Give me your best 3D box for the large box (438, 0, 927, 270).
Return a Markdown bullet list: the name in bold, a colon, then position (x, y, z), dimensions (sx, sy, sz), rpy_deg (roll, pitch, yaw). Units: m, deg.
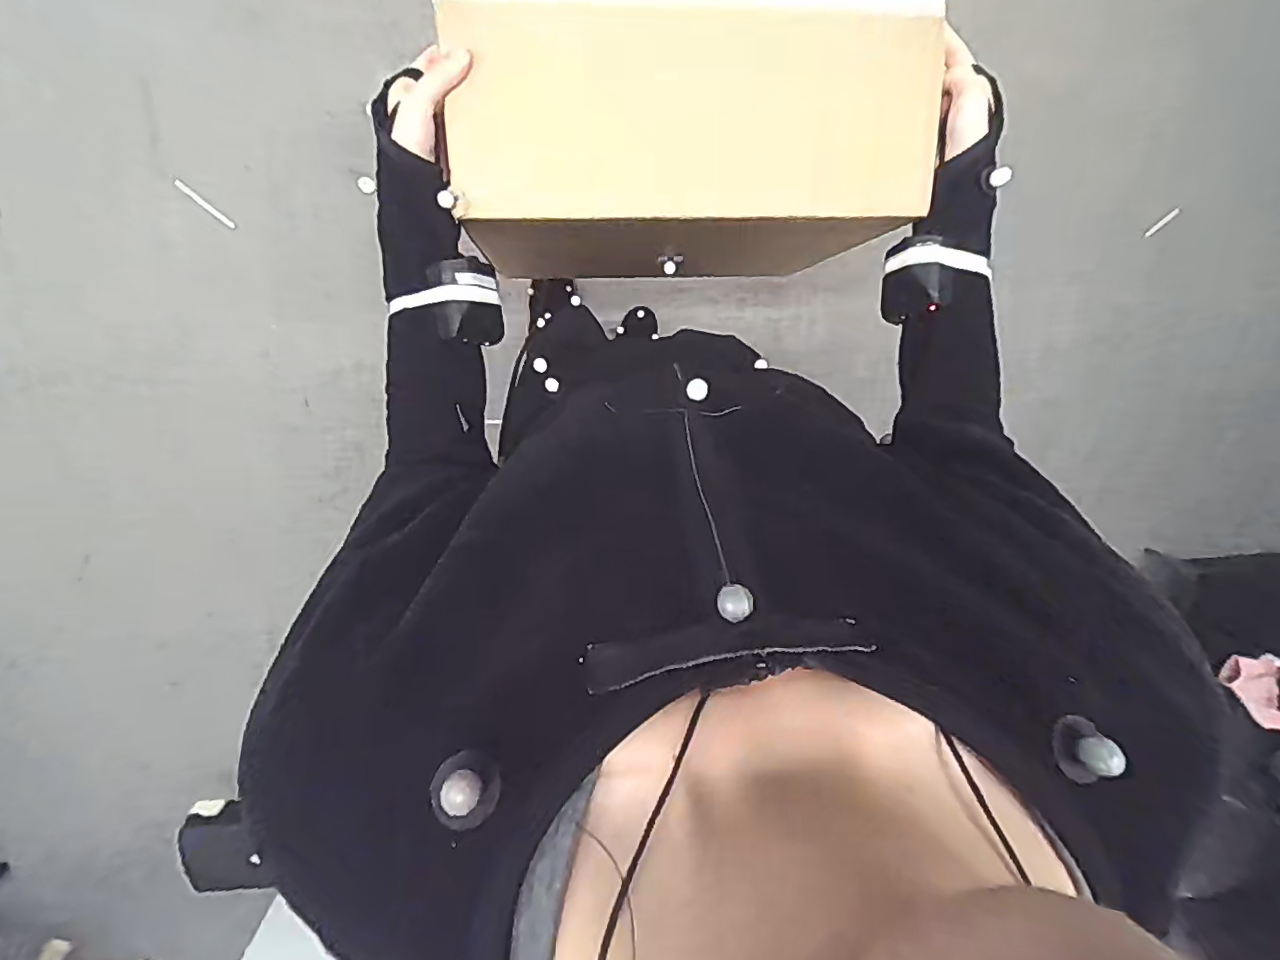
- **large box**: position (0.028, -0.412, 0.574), dimensions (0.408, 0.320, 0.320), rpy_deg (-4, 102, -5)
